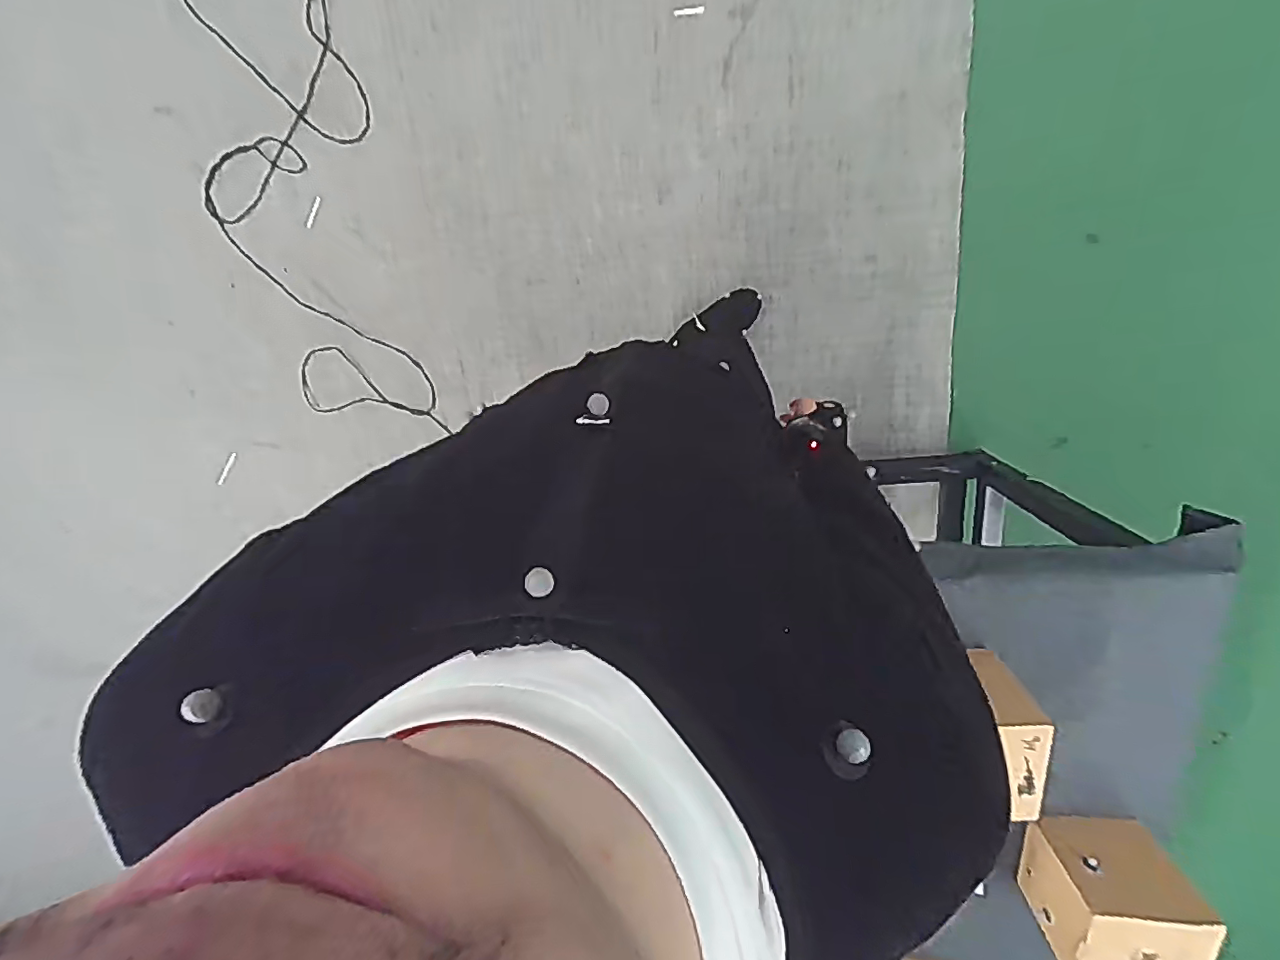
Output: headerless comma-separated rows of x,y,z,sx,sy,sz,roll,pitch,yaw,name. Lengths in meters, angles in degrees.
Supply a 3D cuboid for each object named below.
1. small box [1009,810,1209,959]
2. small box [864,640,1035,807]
0.744,0.673,0.884,0.179,0.176,0.168,-2,110,7,small box
0.454,0.362,0.827,0.179,0.176,0.168,-3,109,7,small box
